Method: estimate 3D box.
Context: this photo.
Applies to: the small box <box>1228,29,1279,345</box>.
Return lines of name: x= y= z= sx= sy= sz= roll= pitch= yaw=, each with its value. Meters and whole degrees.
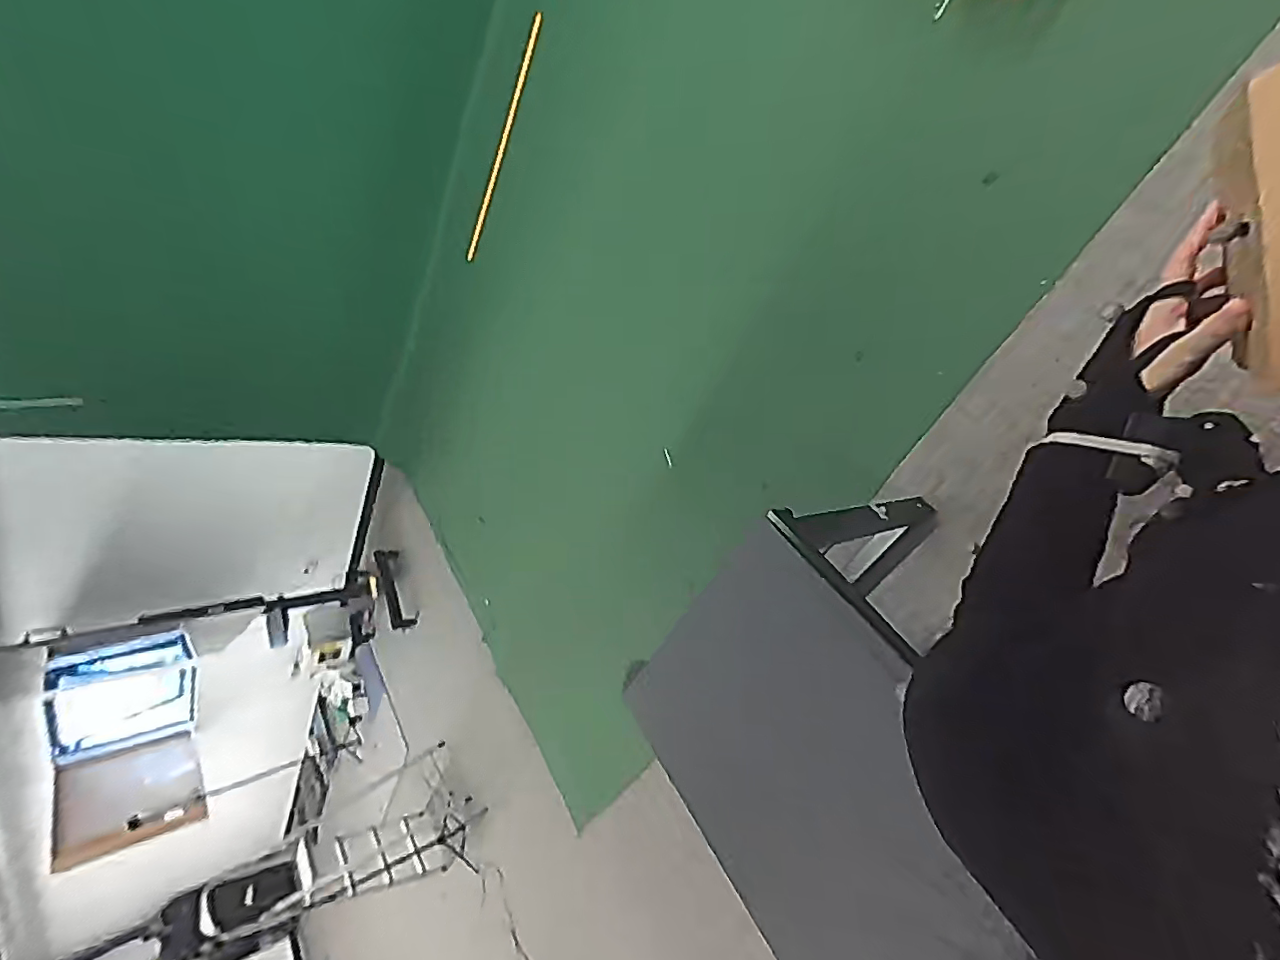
small box: x=0.450 y=-0.172 z=0.290 sx=0.168 sy=0.176 sz=0.179 roll=-6 pitch=102 yaw=45
